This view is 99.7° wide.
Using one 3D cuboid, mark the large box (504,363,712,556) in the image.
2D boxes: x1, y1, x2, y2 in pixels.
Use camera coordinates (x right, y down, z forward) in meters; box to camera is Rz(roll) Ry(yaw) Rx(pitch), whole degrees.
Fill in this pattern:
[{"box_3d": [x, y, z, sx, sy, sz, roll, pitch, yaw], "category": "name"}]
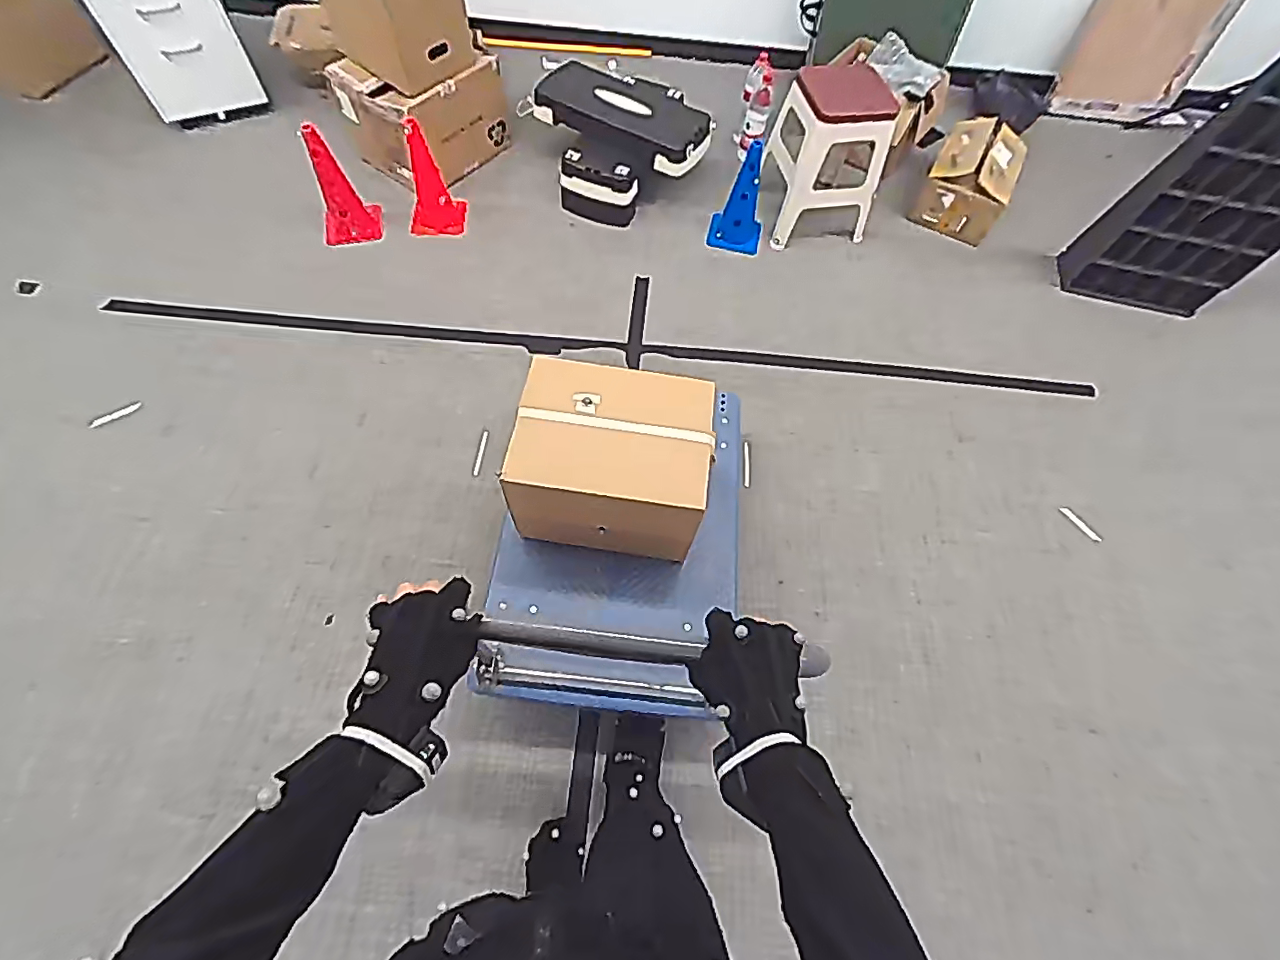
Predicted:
[{"box_3d": [-0.059, -0.034, 1.261, 0.408, 0.320, 0.320, 8, 63, 1], "category": "large box"}]
